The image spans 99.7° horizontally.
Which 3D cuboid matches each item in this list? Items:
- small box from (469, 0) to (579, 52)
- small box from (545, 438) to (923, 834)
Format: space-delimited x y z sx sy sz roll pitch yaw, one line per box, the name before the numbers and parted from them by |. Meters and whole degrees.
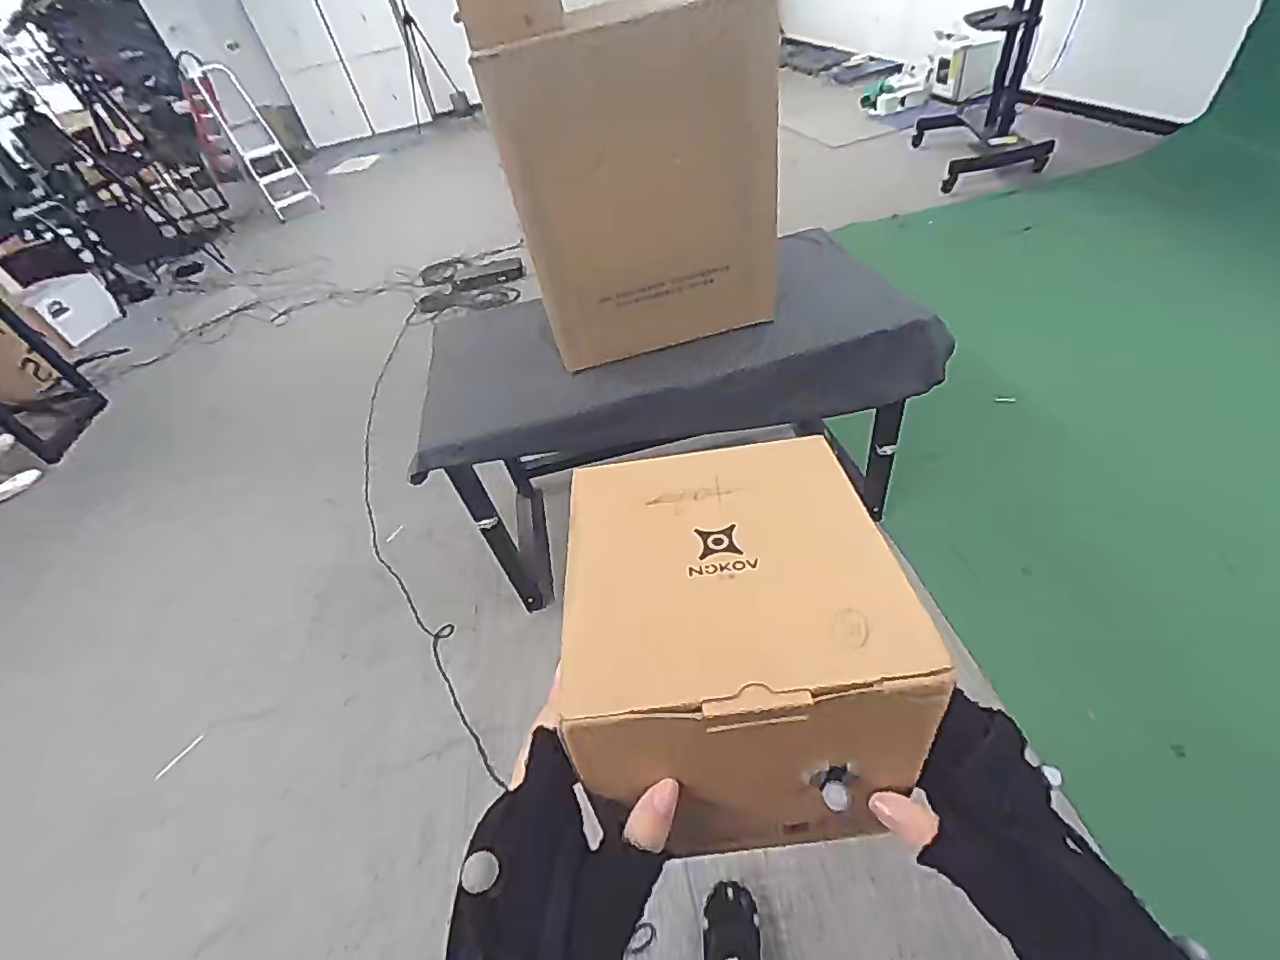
small box | -0.206 -0.837 0.896 0.168 0.176 0.179 -15 46 -1
small box | 0.046 0.098 0.341 0.168 0.176 0.179 -7 37 2
